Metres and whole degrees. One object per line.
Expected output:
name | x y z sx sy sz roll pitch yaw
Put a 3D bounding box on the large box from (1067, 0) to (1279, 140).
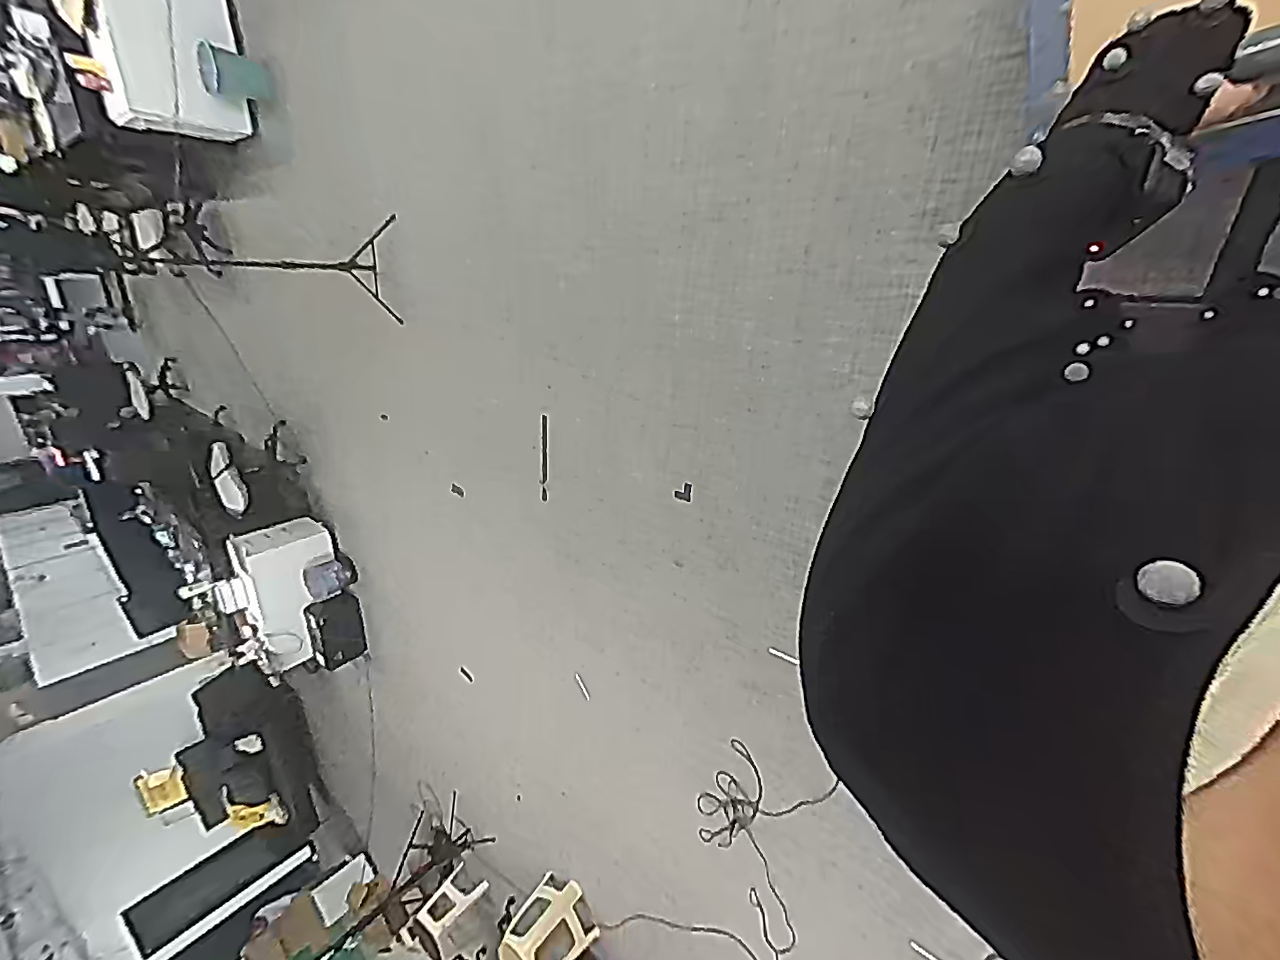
large box | 0.780 -0.684 0.657 0.408 0.320 0.320 1 106 38
